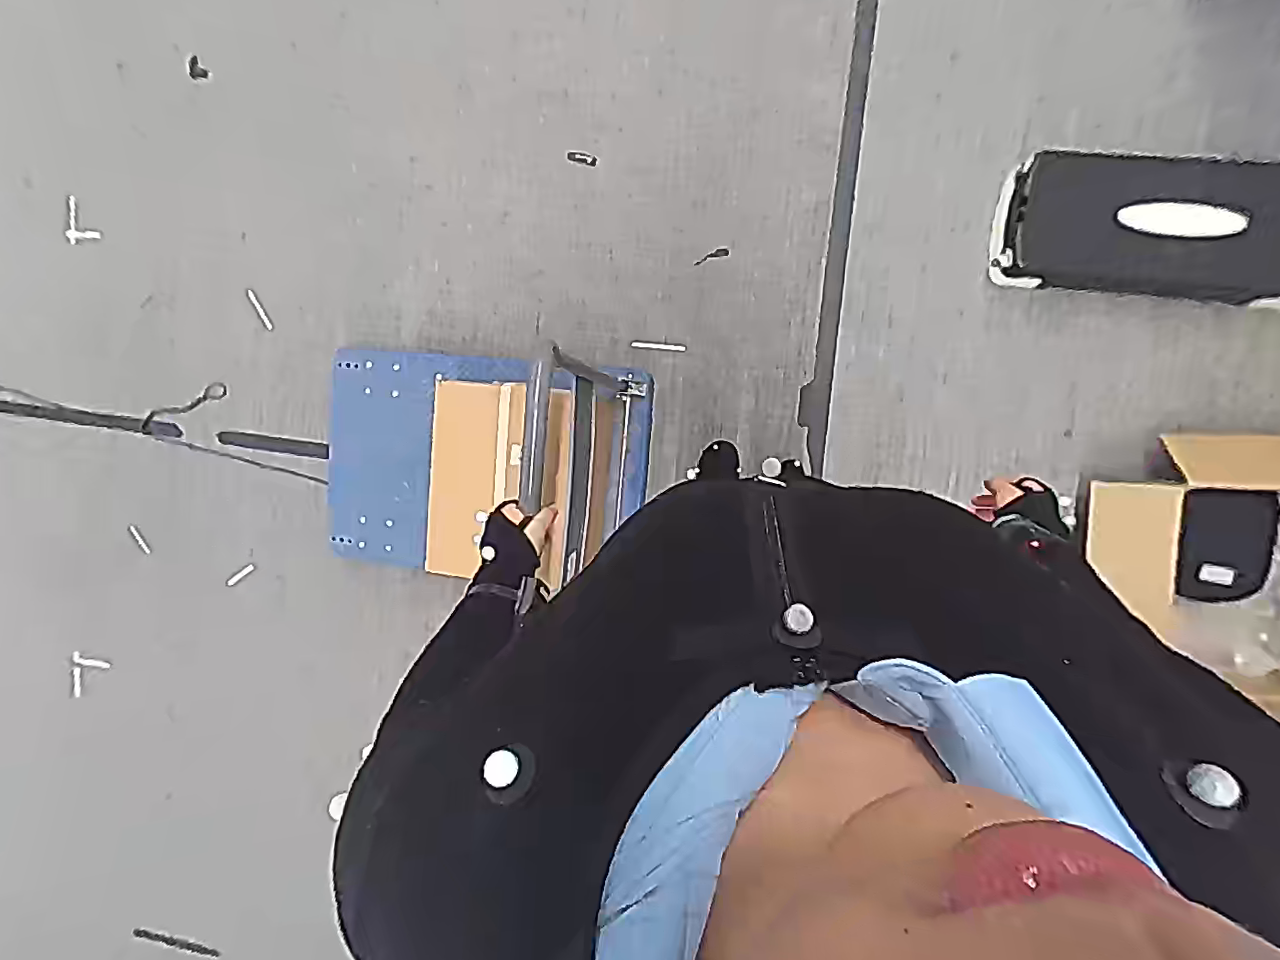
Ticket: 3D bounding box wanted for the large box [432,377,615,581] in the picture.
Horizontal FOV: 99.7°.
[{"bbox_3d":[-0.251,-0.011,1.252,0.320,0.320,0.408,6,95,8],"label":"large box"}]
